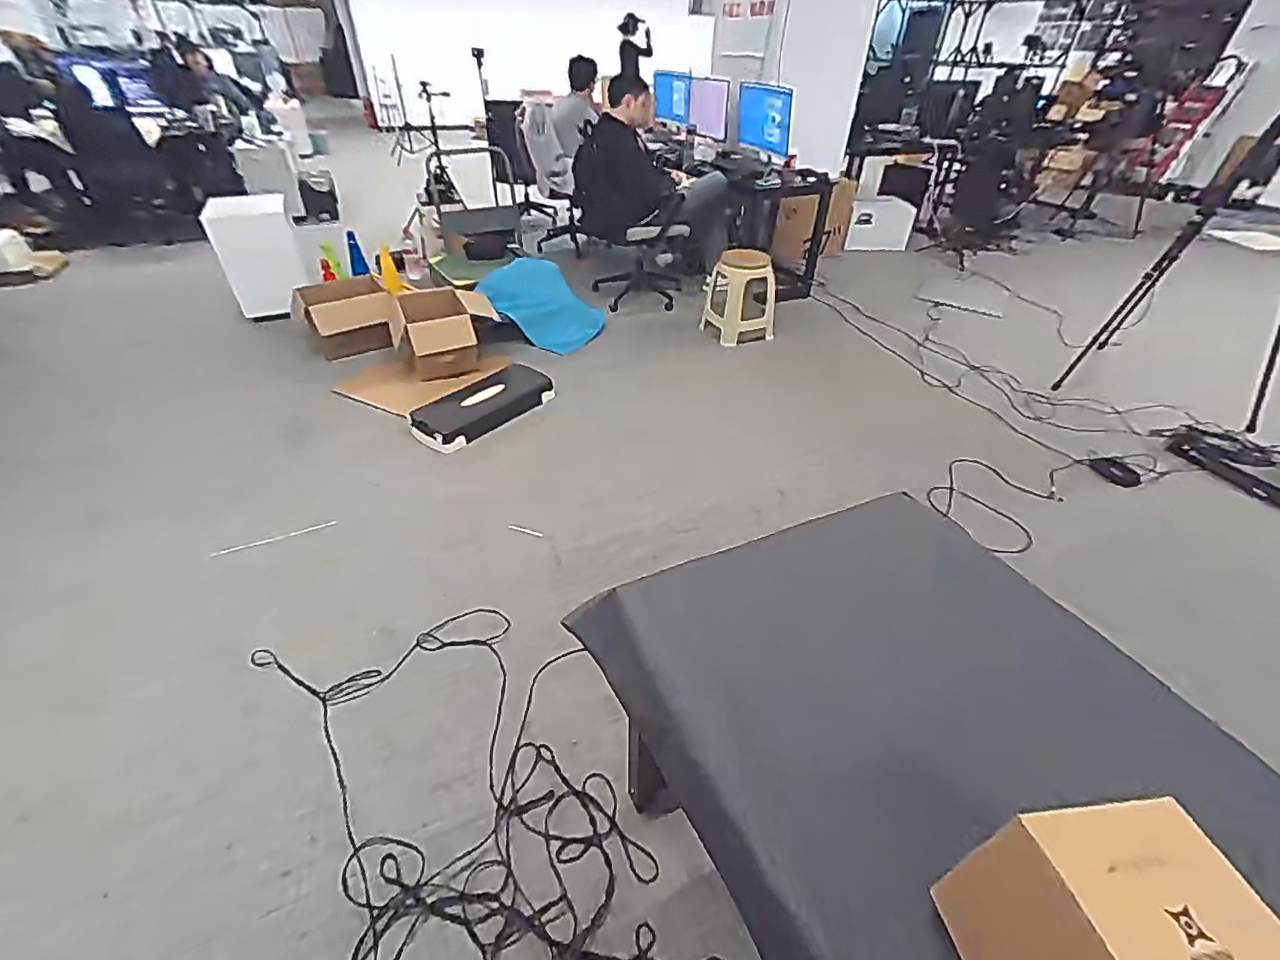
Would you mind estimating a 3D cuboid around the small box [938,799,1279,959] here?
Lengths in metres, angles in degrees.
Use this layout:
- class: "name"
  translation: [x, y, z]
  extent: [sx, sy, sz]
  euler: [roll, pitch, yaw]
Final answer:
- class: "small box"
  translation: [0.390, 0.395, 0.437]
  extent: [0.168, 0.176, 0.179]
  euler: [1, 35, -12]
